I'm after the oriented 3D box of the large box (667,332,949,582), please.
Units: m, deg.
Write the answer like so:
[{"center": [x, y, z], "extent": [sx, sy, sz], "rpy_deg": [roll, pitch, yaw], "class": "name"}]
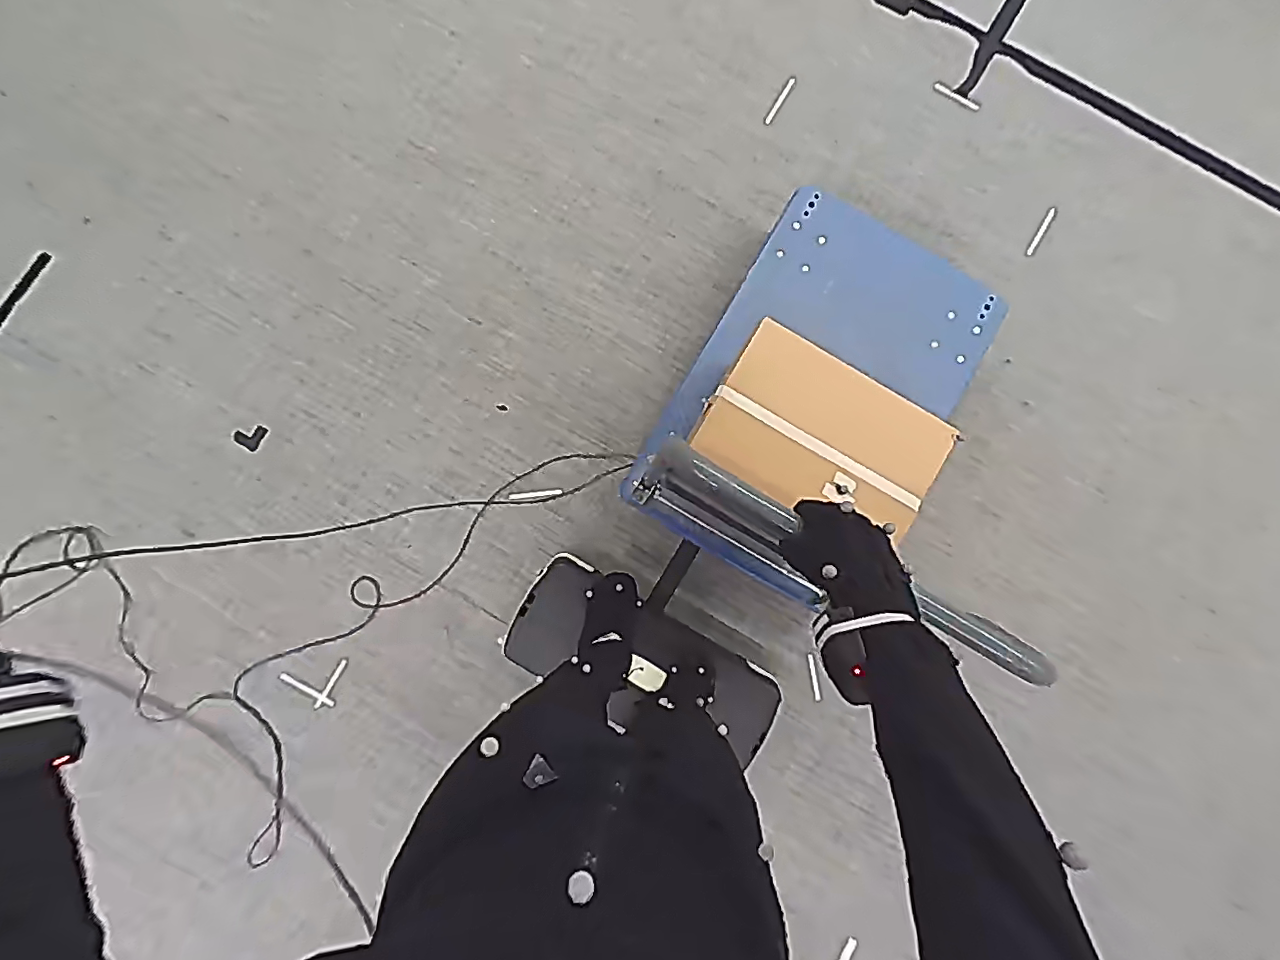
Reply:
[{"center": [0.310, -0.035, 1.119], "extent": [0.408, 0.320, 0.320], "rpy_deg": [31, 87, 0], "class": "large box"}]
